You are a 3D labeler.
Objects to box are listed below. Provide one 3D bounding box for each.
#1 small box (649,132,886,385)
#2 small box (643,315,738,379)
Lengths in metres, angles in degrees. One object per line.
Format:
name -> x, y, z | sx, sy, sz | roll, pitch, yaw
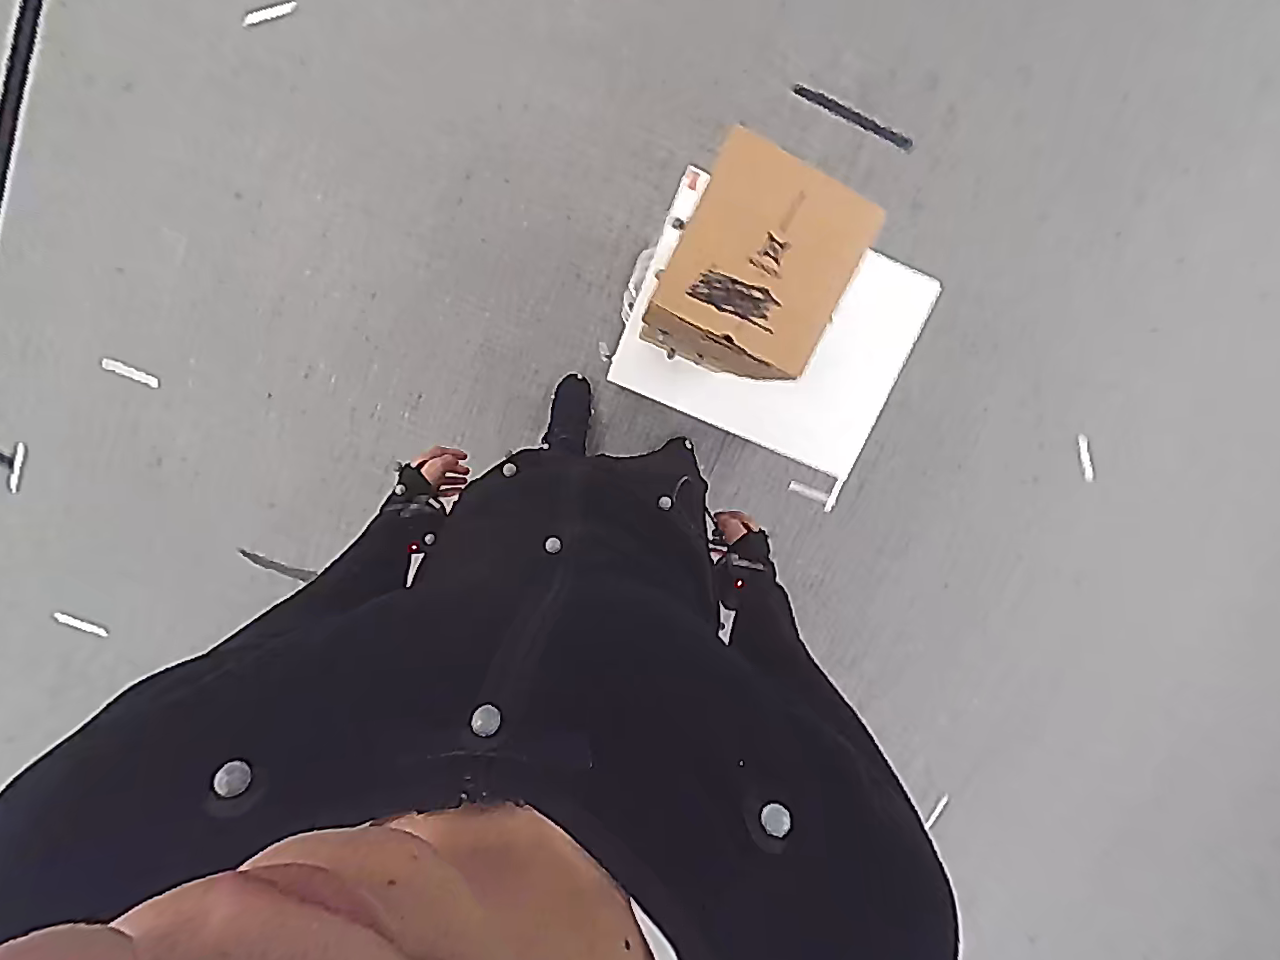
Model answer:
small box -> 0.118, -0.217, 0.584 | 0.168, 0.176, 0.179 | 26, 98, -7
small box -> 0.111, -0.283, 0.907 | 0.168, 0.176, 0.179 | 23, 99, -8
